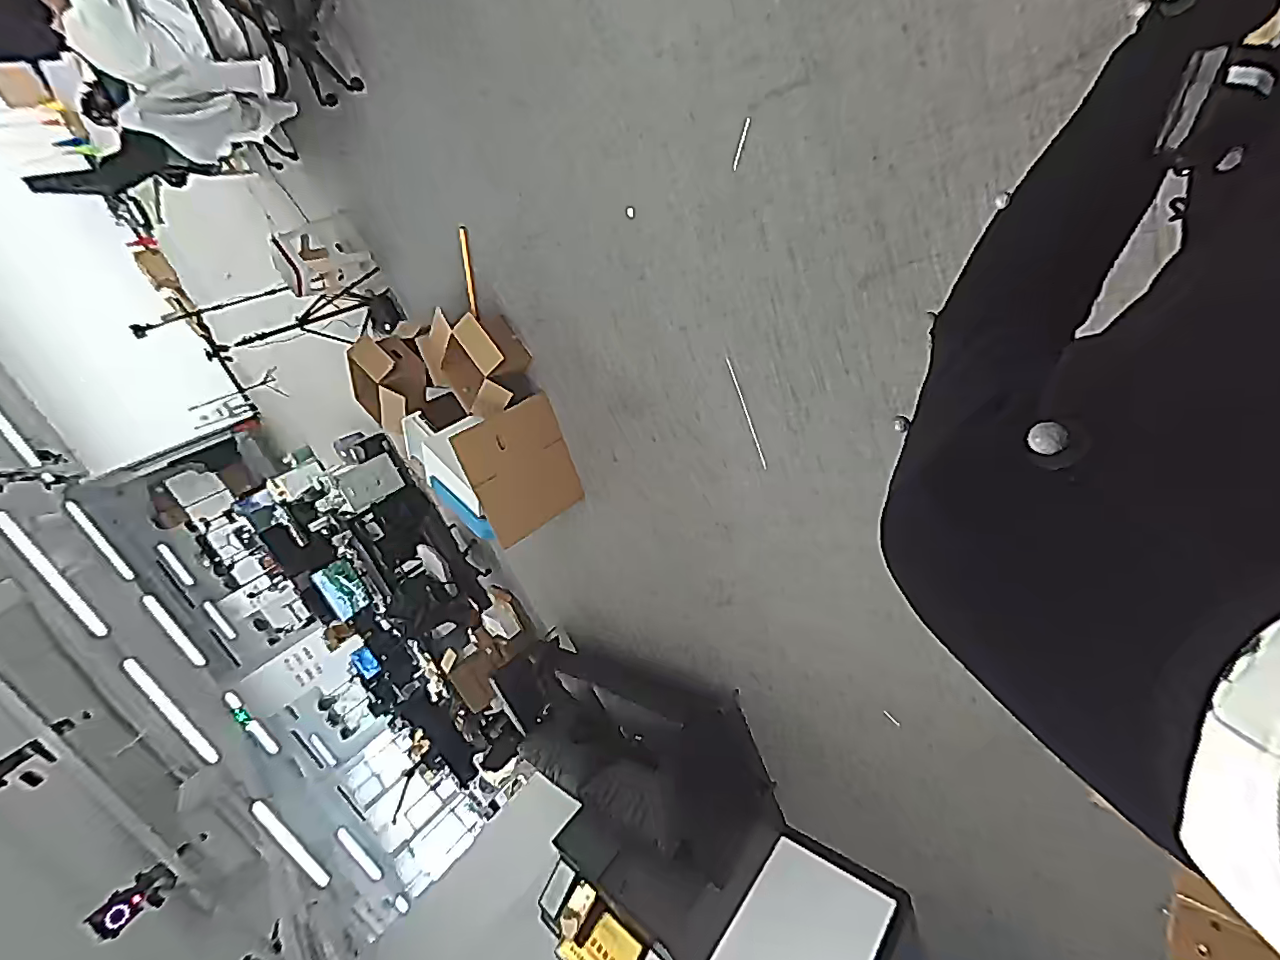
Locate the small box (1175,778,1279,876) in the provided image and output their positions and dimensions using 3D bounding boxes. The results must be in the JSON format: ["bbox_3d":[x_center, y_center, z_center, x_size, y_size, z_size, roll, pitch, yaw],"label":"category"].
[{"bbox_3d":[1.387,0.850,1.274,0.168,0.176,0.179,8,124,46],"label":"small box"}]

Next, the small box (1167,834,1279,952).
[{"bbox_3d":[1.277,0.928,1.182,0.168,0.176,0.179,6,125,46],"label":"small box"}]

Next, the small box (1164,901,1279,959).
[{"bbox_3d":[1.174,1.012,1.089,0.168,0.176,0.179,6,125,47],"label":"small box"}]
